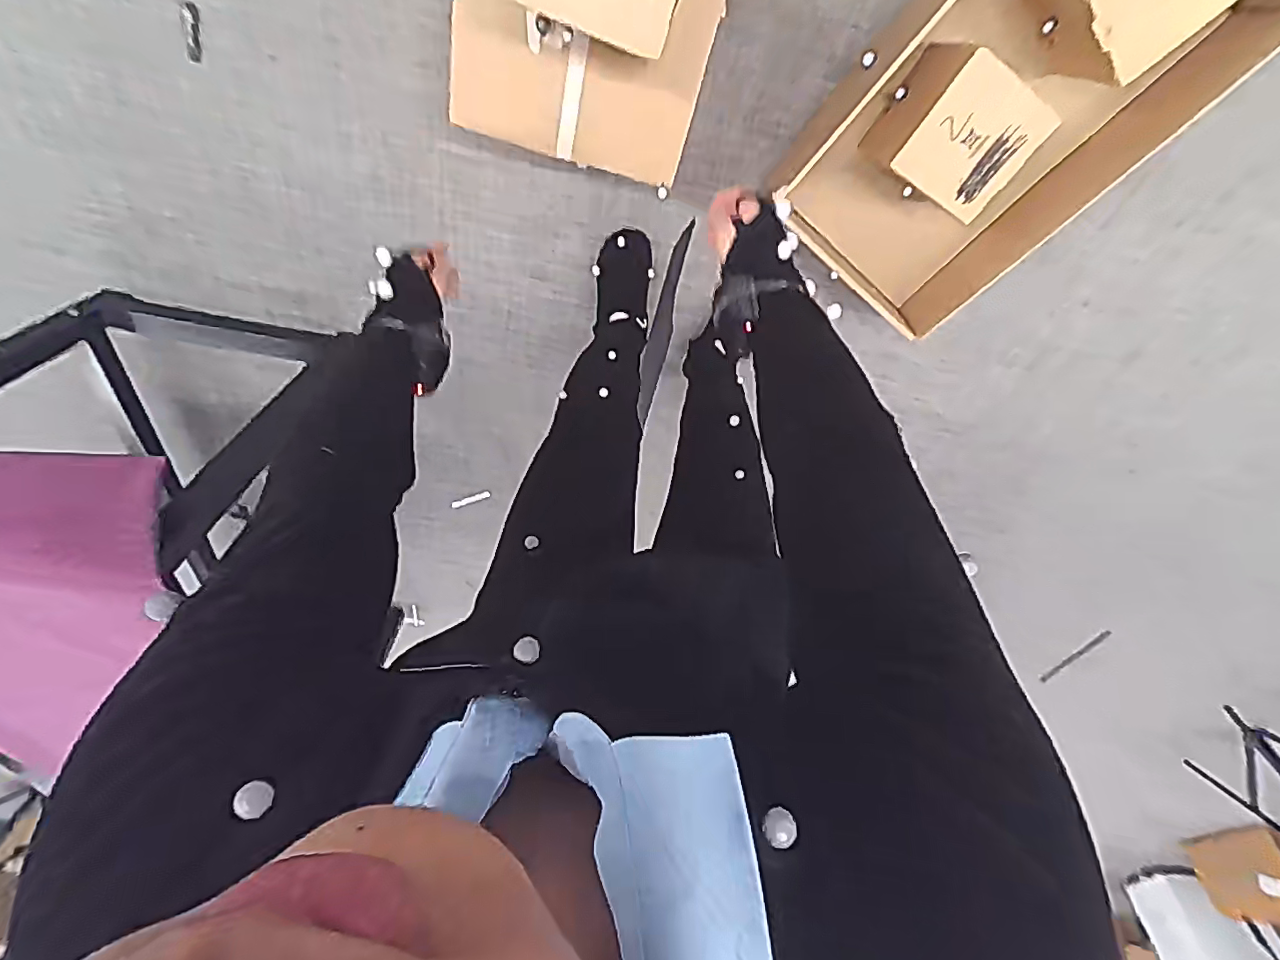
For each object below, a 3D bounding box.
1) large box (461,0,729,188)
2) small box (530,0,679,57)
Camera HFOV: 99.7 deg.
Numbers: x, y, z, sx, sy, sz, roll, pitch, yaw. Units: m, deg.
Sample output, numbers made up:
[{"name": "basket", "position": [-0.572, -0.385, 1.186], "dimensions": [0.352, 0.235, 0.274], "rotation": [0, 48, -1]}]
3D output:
[{"name": "large box", "position": [-0.040, -0.686, 0.728], "dimensions": [0.320, 0.320, 0.408], "rotation": [14, 131, -7]}, {"name": "small box", "position": [-0.031, -0.545, 0.523], "dimensions": [0.179, 0.176, 0.168], "rotation": [16, 131, -11]}]
